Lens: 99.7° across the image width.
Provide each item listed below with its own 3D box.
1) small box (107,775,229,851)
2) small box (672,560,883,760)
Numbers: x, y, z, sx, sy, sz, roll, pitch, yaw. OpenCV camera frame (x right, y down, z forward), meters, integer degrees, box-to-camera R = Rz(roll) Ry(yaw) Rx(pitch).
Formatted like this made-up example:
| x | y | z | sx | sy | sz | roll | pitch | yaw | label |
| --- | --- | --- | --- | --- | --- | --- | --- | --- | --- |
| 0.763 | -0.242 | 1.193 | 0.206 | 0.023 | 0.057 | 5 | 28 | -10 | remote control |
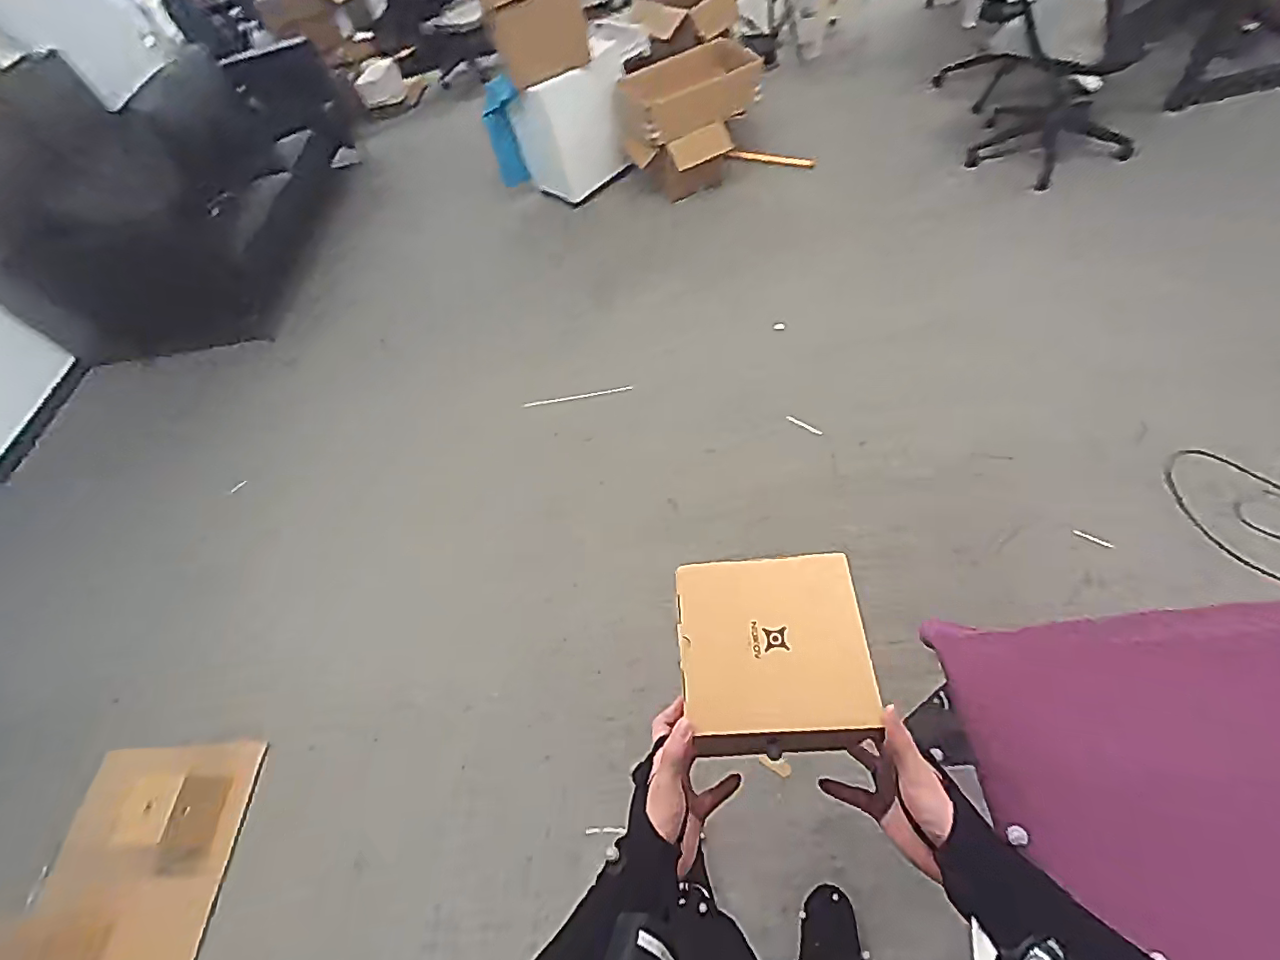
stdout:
| x | y | z | sx | sy | sz | roll | pitch | yaw | label |
| --- | --- | --- | --- | --- | --- | --- | --- | --- | --- |
| -1.330 | 0.947 | 1.540 | 0.168 | 0.176 | 0.179 | -6 | 56 | 10 | small box |
| 0.133 | 0.200 | 0.580 | 0.179 | 0.176 | 0.168 | -7 | 57 | 6 | small box |
